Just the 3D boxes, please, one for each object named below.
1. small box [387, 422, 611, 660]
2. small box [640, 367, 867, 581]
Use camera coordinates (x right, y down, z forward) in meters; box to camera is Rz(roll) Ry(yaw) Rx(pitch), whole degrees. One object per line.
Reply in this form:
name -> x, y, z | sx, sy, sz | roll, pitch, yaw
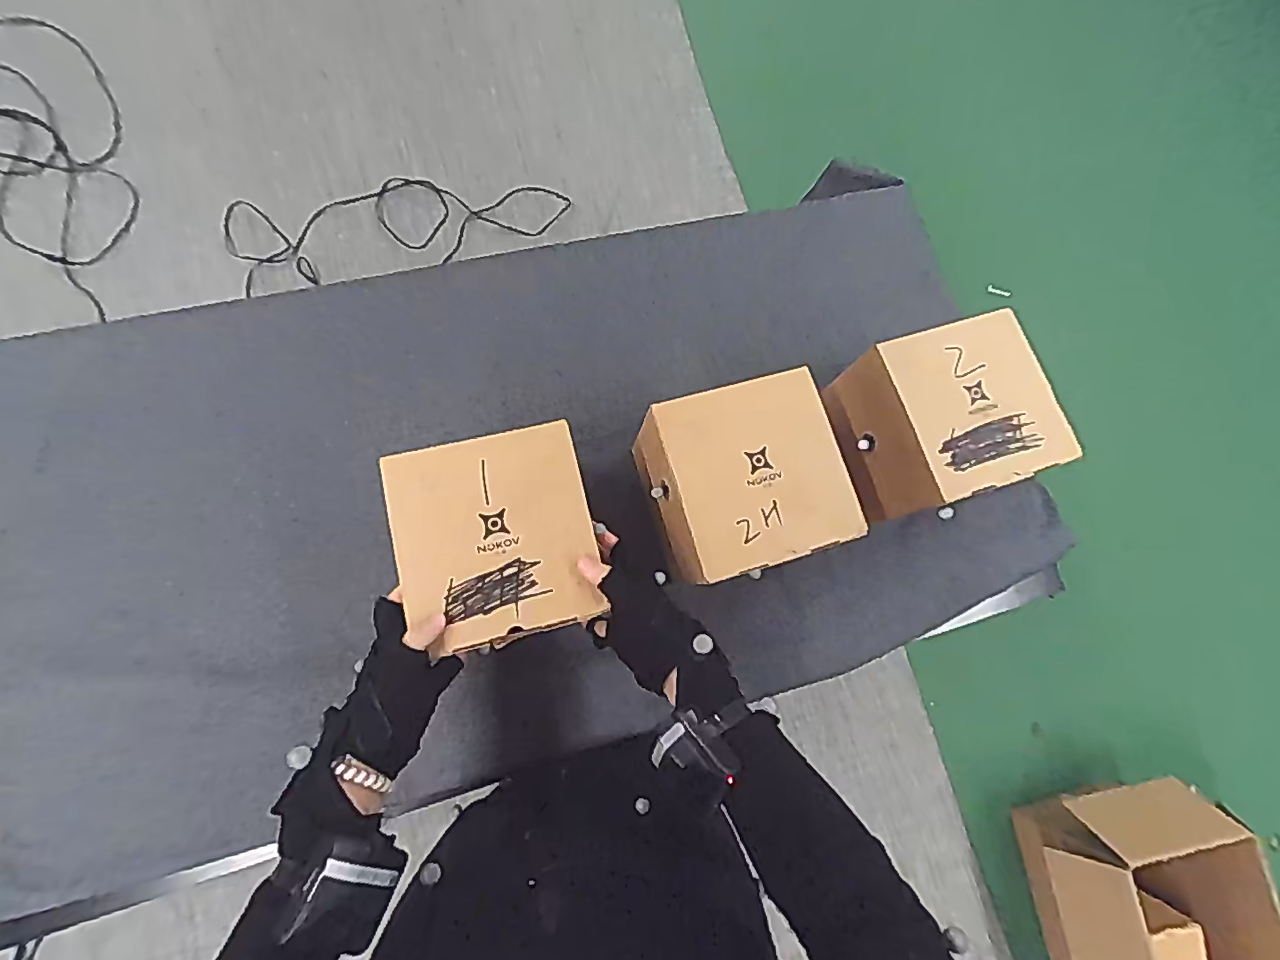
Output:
small box -> -0.128, 0.064, 0.539 | 0.168, 0.176, 0.179 | -13, 78, -9
small box -> 0.104, 0.004, 0.584 | 0.168, 0.176, 0.179 | -15, 81, -9
